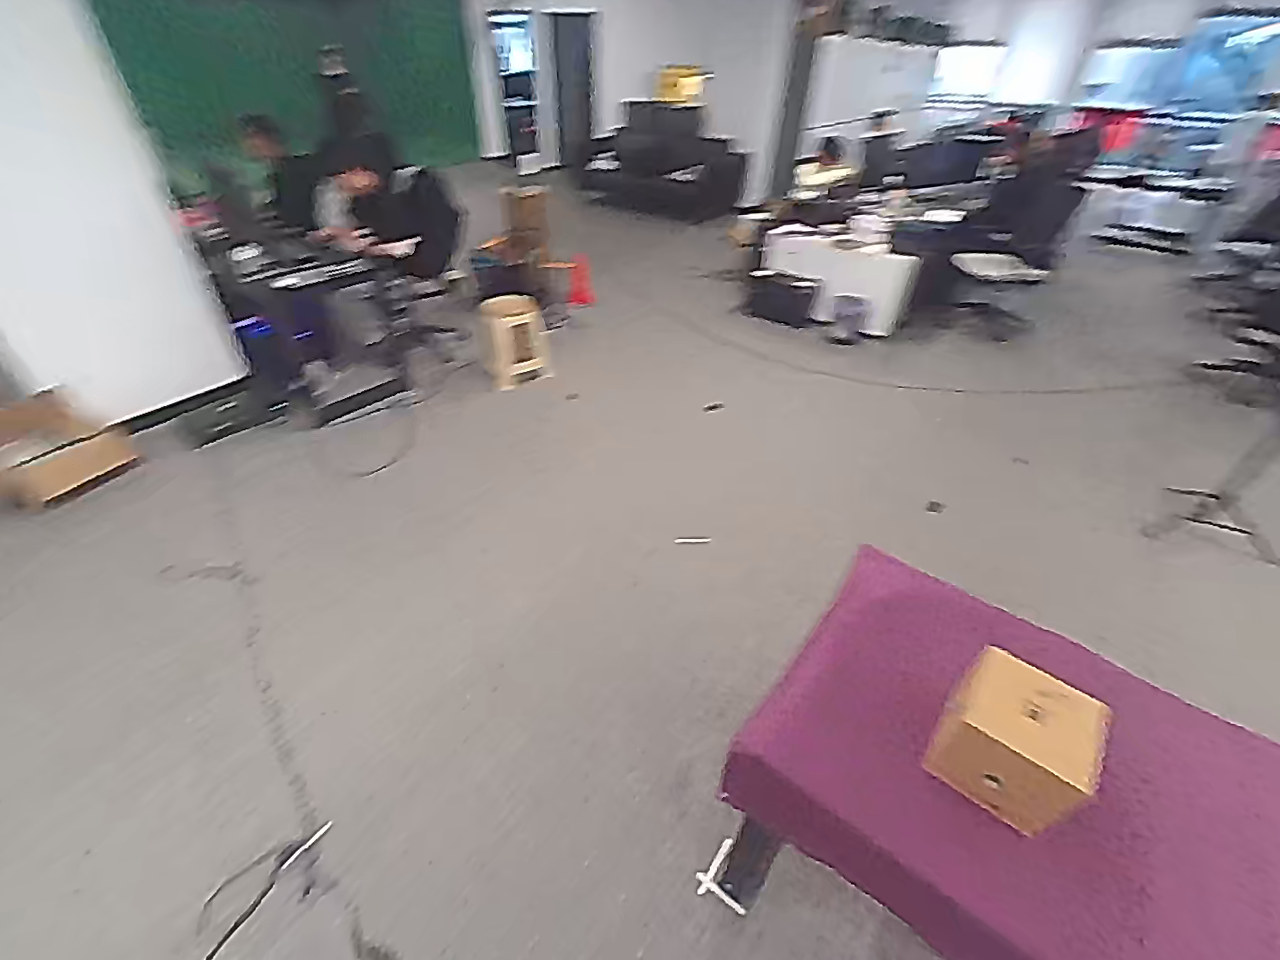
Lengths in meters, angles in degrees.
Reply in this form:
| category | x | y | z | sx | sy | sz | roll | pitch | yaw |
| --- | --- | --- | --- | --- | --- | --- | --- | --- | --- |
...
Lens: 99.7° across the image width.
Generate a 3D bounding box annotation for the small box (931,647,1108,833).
| category | x | y | z | sx | sy | sz | roll | pitch | yaw |
| --- | --- | --- | --- | --- | --- | --- | --- | --- | --- |
| small box | 0.598 | 0.417 | 0.869 | 0.168 | 0.176 | 0.179 | 30 | 46 | 29 |
